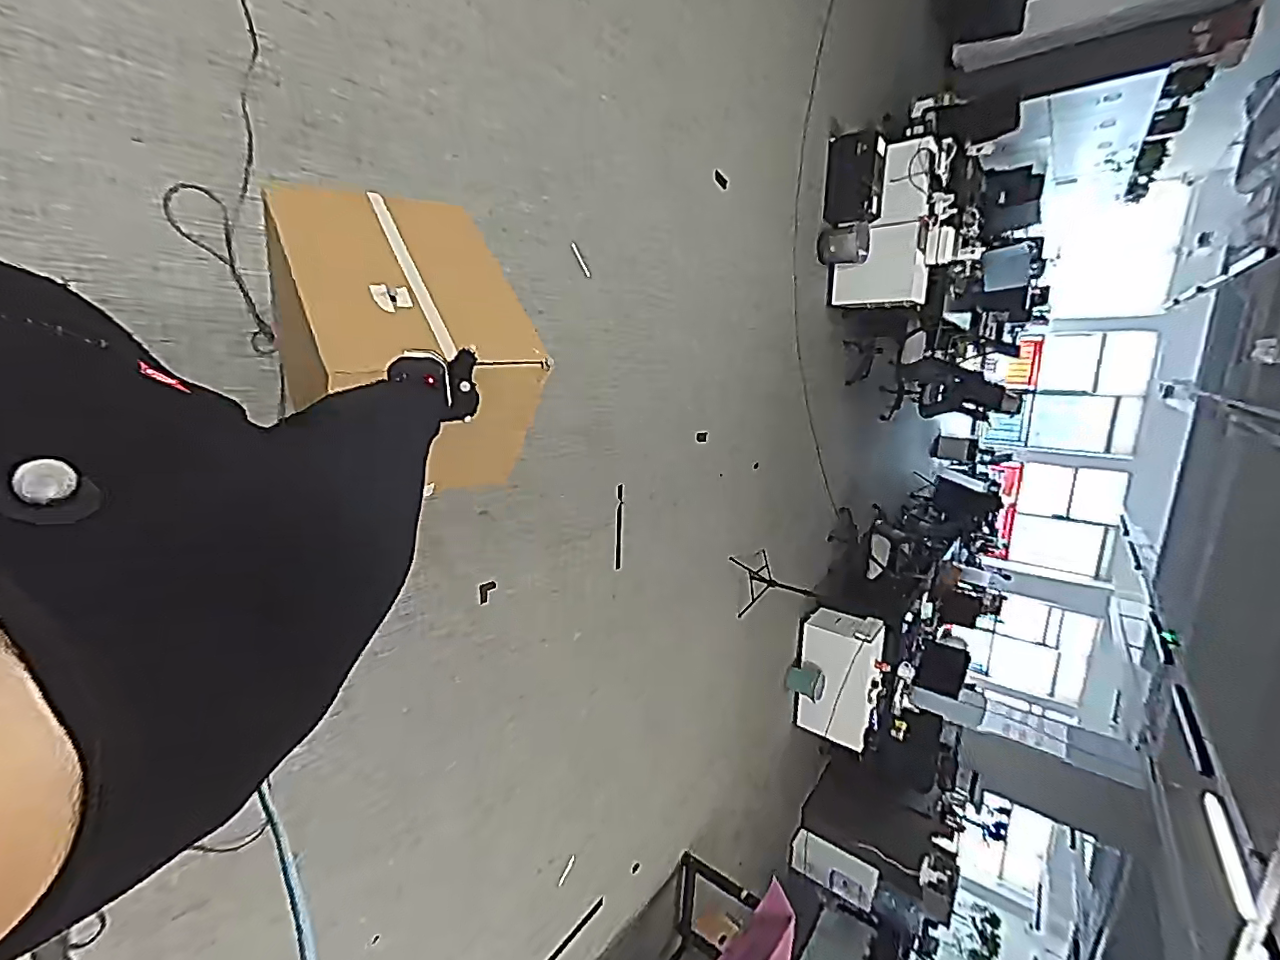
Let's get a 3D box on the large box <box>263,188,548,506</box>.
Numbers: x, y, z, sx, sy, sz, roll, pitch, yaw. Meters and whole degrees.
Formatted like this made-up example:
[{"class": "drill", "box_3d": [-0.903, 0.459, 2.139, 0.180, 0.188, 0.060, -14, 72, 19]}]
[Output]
[{"class": "large box", "box_3d": [-0.421, -0.223, 0.938, 0.320, 0.408, 0.320, -13, 152, -38]}]
